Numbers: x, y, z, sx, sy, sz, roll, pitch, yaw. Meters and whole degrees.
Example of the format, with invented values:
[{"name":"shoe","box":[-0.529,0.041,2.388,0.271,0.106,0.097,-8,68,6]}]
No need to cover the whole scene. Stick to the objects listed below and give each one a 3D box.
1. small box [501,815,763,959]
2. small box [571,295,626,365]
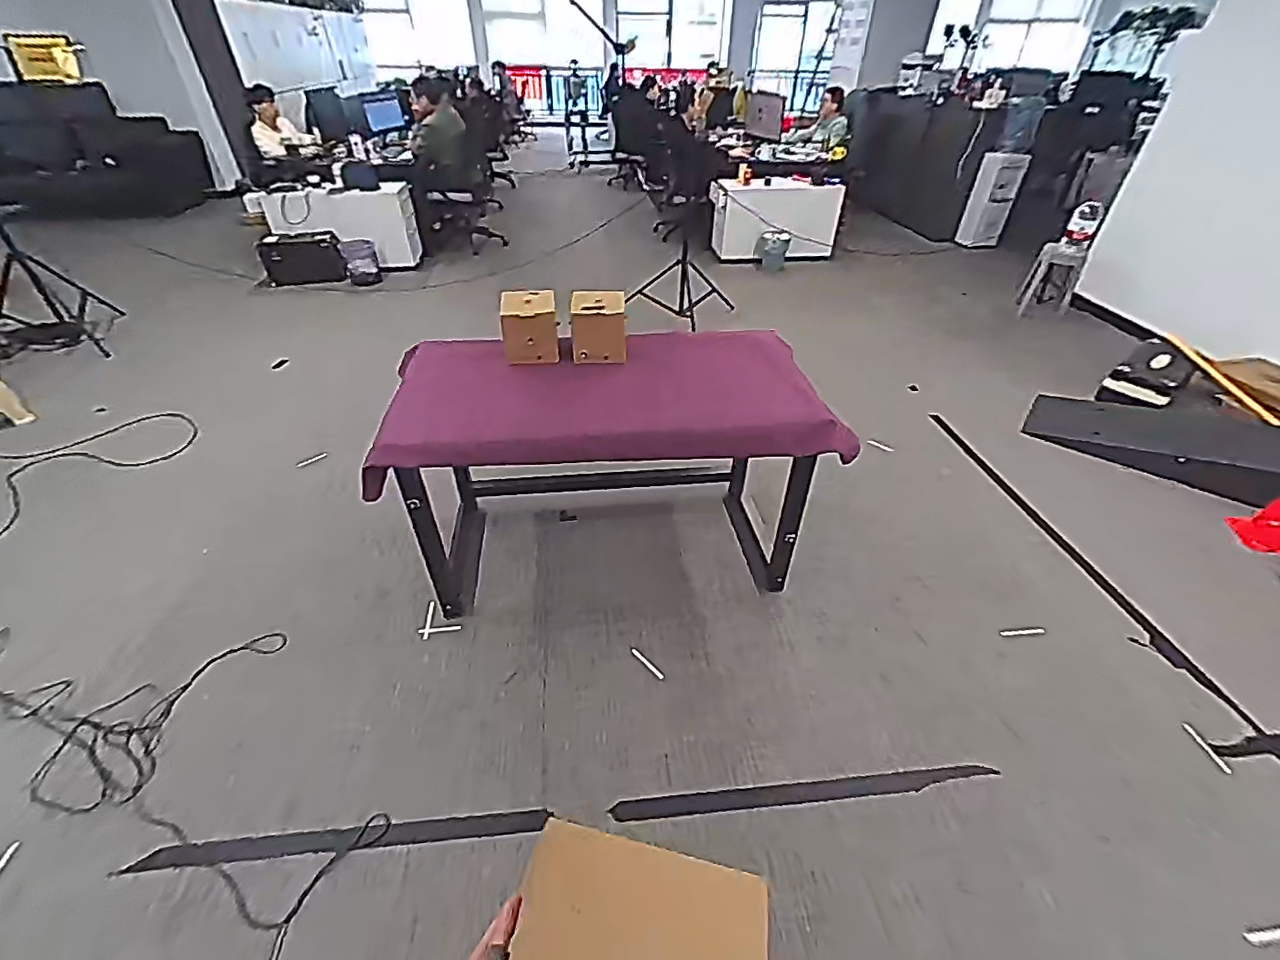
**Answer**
[{"name":"small box","box":[-0.021,0.377,0.383,0.168,0.176,0.179,16,42,-1]},{"name":"small box","box":[-0.130,-0.479,1.735,0.168,0.176,0.179,-1,40,-3]}]
